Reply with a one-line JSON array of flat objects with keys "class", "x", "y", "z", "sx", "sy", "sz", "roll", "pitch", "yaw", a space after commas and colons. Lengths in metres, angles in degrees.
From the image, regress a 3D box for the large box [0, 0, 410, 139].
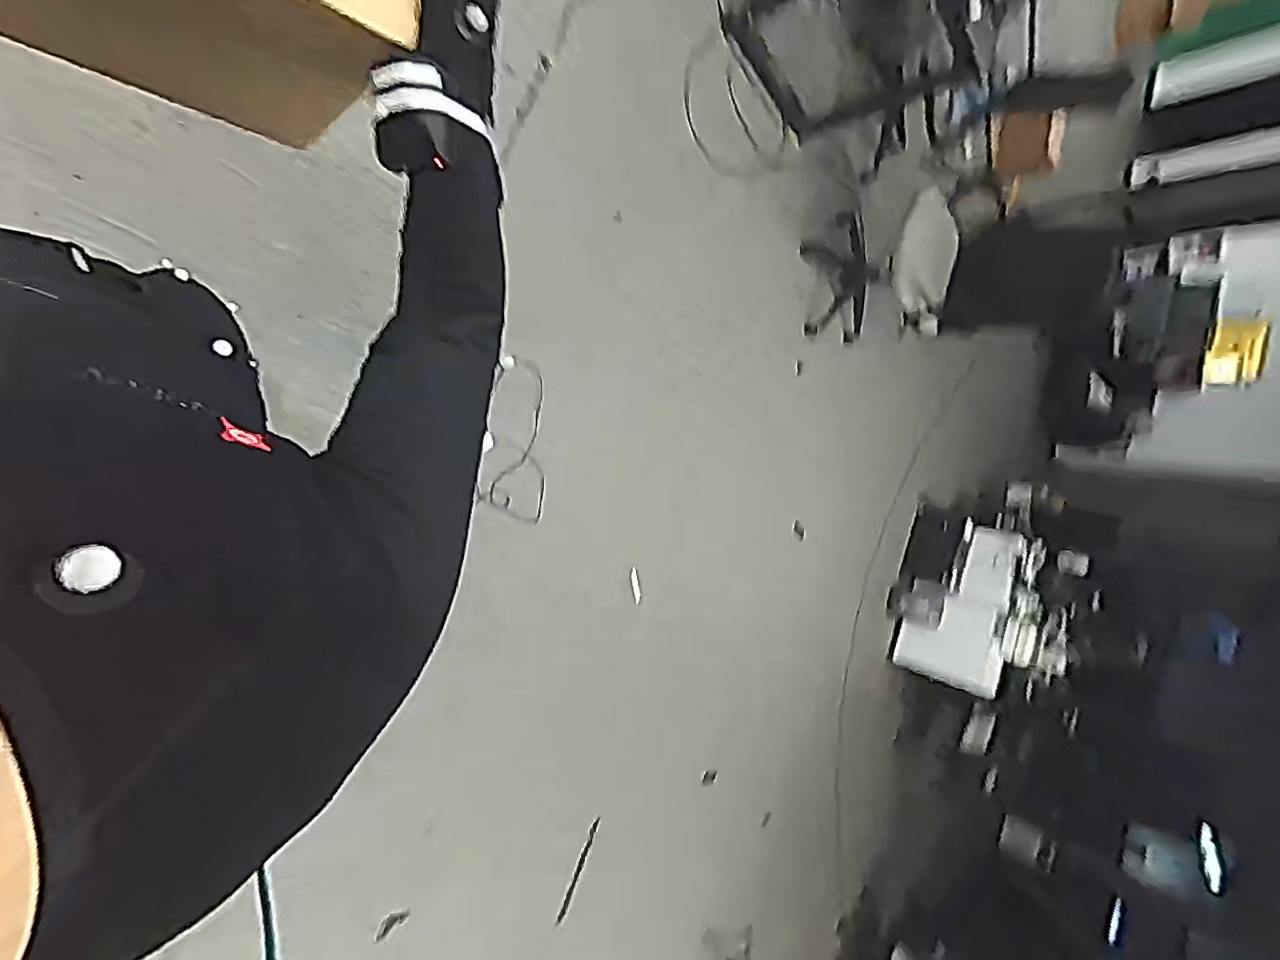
[{"class": "large box", "x": -0.397, "y": -0.492, "z": 0.336, "sx": 0.408, "sy": 0.320, "sz": 0.320, "roll": 0, "pitch": 101, "yaw": -45}]
